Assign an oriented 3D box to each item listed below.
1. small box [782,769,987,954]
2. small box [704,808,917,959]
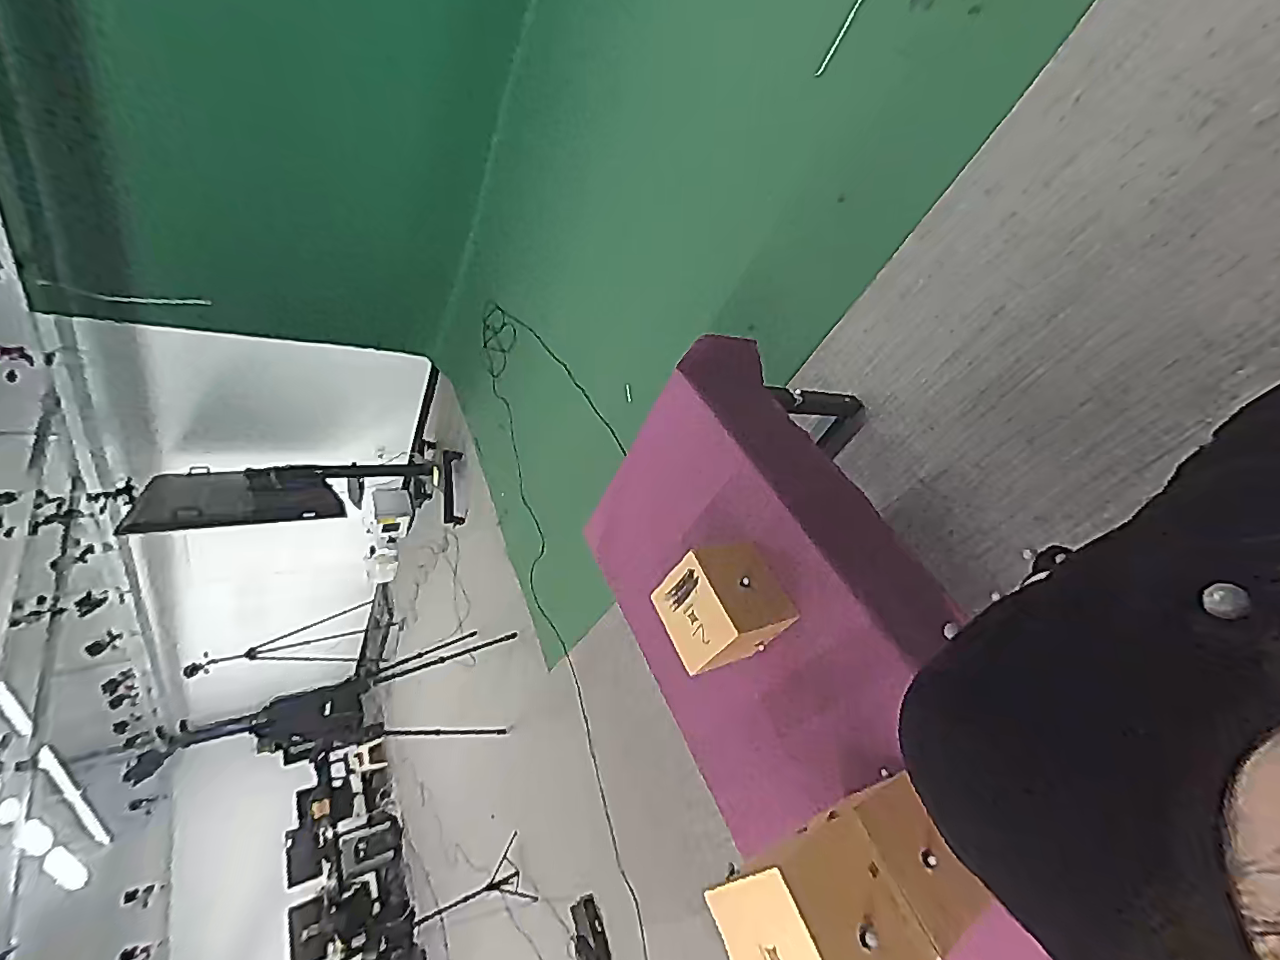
[{"bbox_3d":[0.353,0.552,0.792,0.179,0.176,0.168,60,135,31],"label":"small box"},{"bbox_3d":[0.221,0.557,0.697,0.179,0.176,0.168,-57,49,39],"label":"small box"}]
